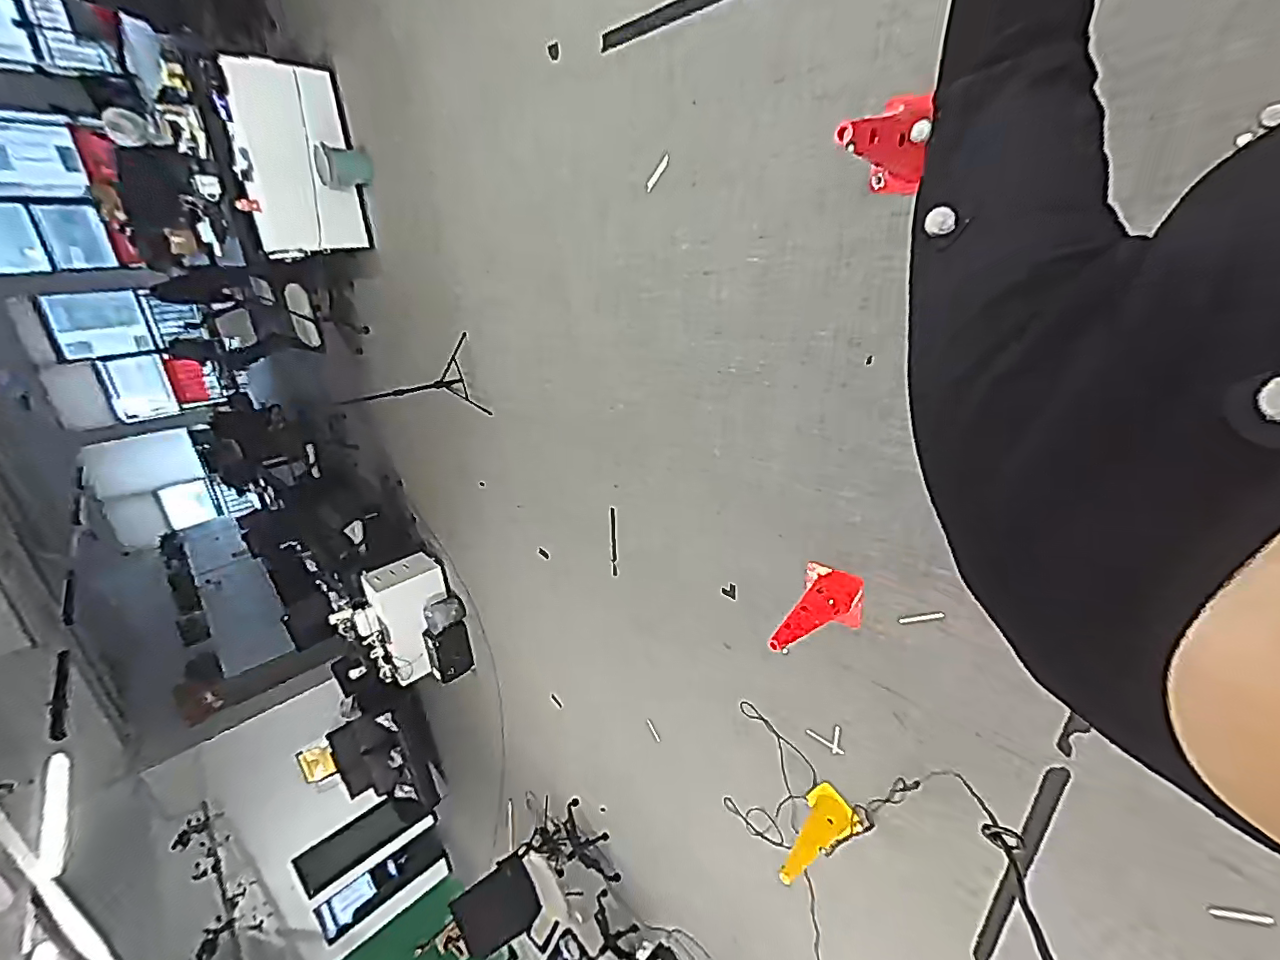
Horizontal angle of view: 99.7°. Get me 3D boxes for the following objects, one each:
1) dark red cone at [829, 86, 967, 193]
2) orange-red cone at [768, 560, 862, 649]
[{"bbox_3d":[0.506,-0.723,1.135,0.201,0.394,0.202,27,127,38],"label":"dark red cone"},{"bbox_3d":[0.527,0.436,1.725,0.198,0.360,0.199,19,123,45],"label":"orange-red cone"}]
